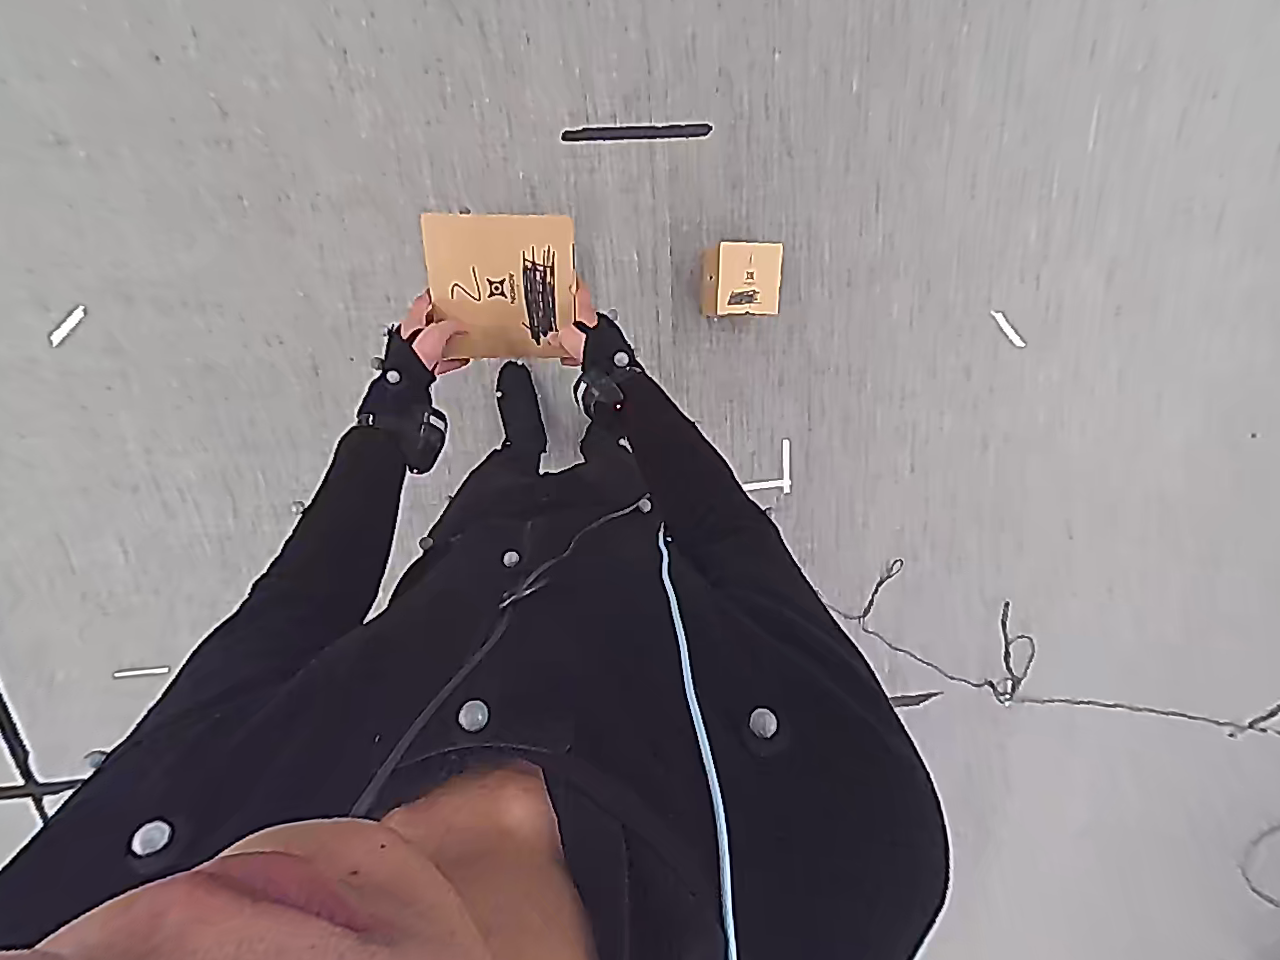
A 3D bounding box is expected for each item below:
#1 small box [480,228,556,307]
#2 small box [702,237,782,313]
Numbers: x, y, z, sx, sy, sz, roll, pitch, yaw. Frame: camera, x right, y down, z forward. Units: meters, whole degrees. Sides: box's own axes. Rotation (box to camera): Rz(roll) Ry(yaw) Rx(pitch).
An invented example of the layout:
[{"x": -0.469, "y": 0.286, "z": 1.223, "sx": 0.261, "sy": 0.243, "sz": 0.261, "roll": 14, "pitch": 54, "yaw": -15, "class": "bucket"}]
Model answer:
[{"x": -0.305, "y": -0.537, "z": 1.386, "sx": 0.168, "sy": 0.176, "sz": 0.179, "roll": -2, "pitch": 105, "yaw": -5, "class": "small box"}, {"x": 0.265, "y": -0.541, "z": 1.447, "sx": 0.168, "sy": 0.176, "sz": 0.179, "roll": -1, "pitch": 105, "yaw": -7, "class": "small box"}]
